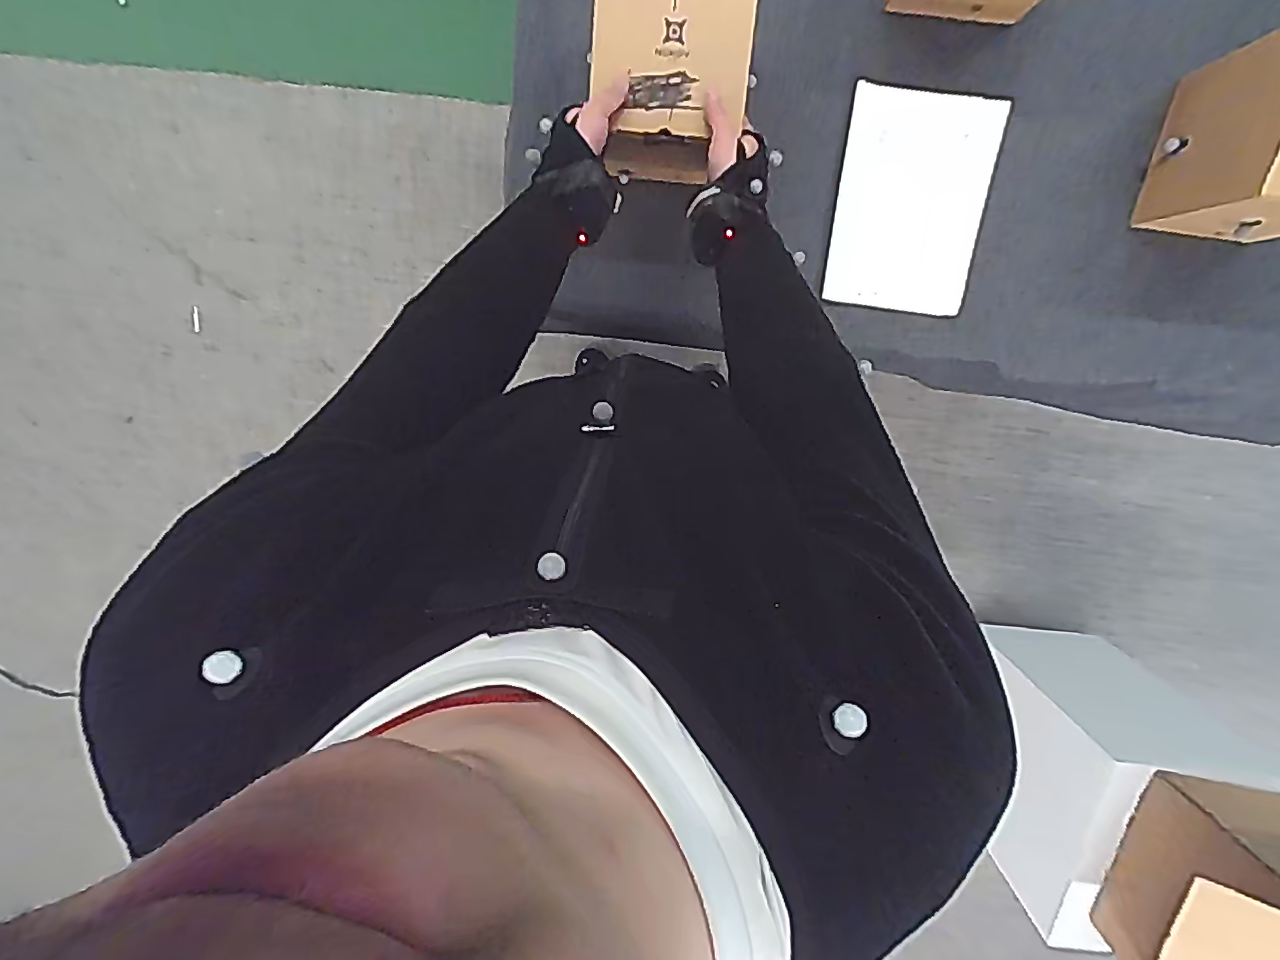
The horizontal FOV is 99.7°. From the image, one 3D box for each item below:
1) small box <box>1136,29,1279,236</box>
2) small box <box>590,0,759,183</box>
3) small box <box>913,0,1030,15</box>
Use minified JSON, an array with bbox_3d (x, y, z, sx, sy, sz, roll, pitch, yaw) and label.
[{"bbox_3d":[0.741,-0.392,0.626,0.168,0.176,0.179,7,106,0],"label":"small box"},{"bbox_3d":[0.037,-0.466,0.633,0.168,0.176,0.179,5,105,0],"label":"small box"},{"bbox_3d":[0.386,-0.632,0.560,0.168,0.176,0.179,6,105,0],"label":"small box"}]
